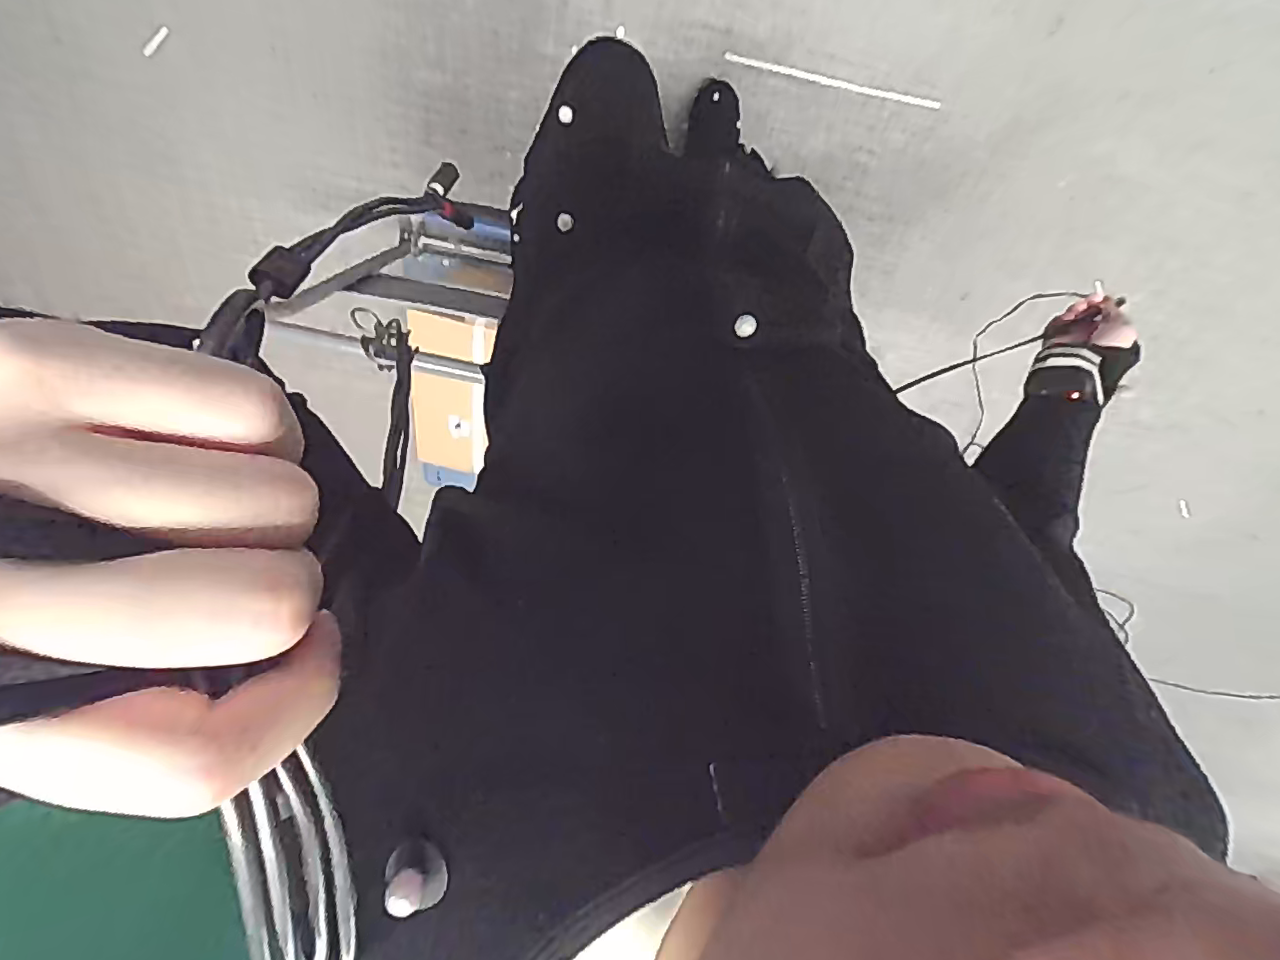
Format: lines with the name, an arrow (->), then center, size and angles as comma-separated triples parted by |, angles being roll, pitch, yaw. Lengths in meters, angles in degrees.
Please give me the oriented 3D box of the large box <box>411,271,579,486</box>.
large box -> -0.346, -0.256, 1.357 | 0.320, 0.320, 0.408 | 13, 129, -2
